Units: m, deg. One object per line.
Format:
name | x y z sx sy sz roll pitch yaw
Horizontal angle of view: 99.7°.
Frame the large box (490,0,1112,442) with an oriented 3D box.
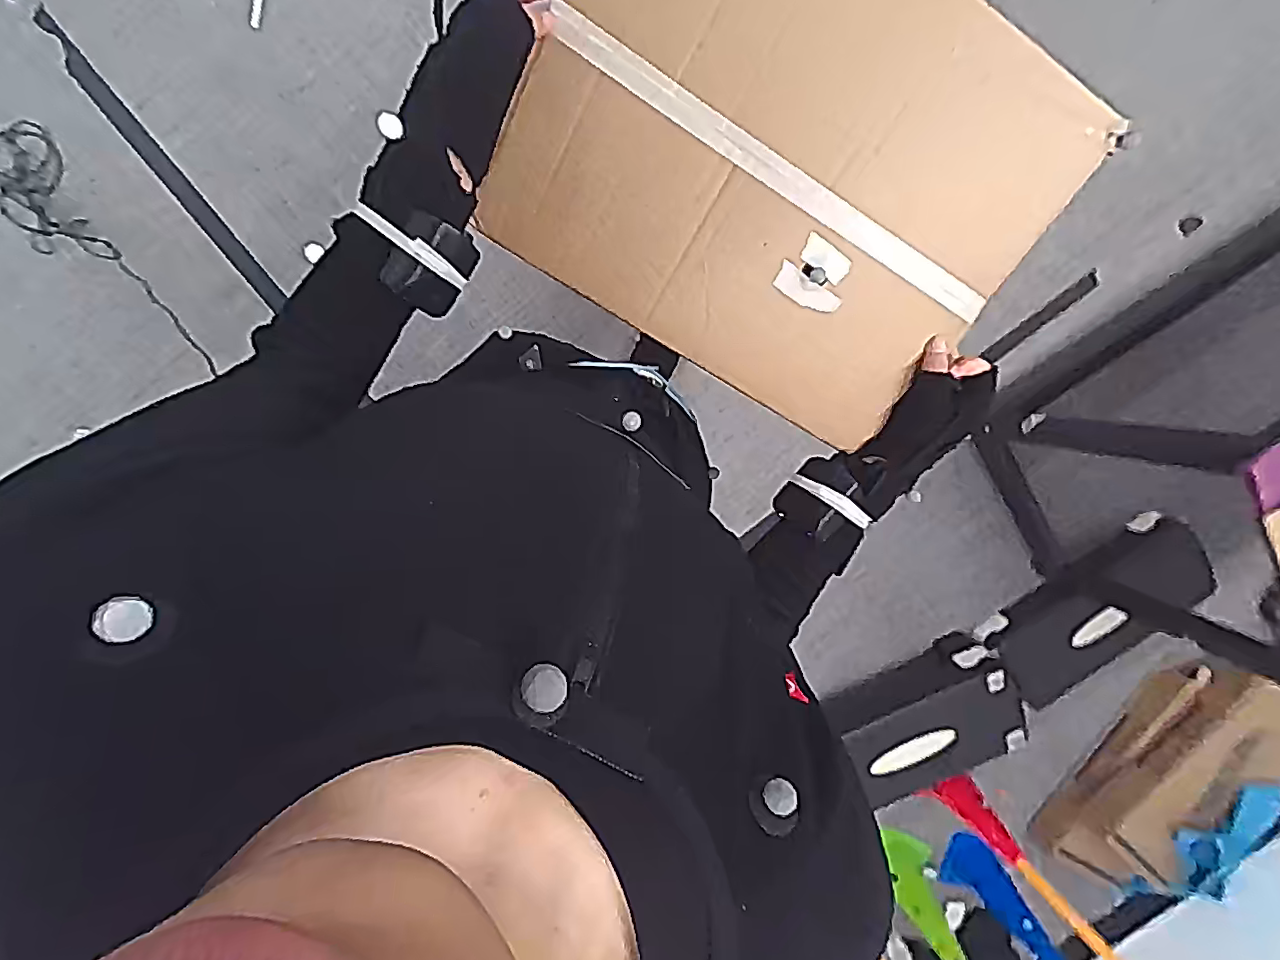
large box | 0.120 -0.304 0.567 0.408 0.320 0.320 29 112 -11
